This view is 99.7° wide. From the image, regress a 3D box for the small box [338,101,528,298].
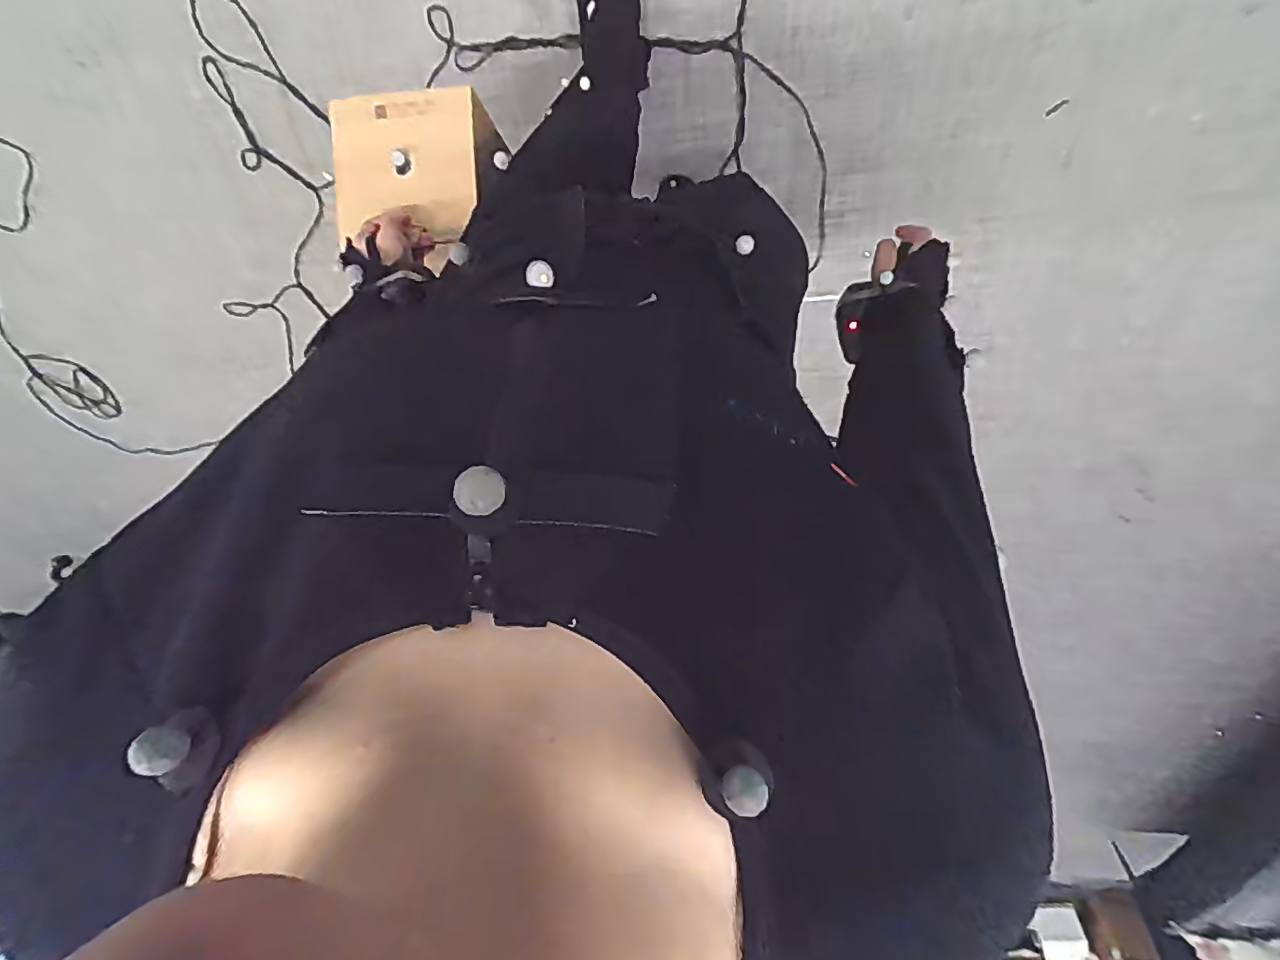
[{"bbox_3d":[-0.253,-0.347,0.686,0.168,0.179,0.176,-4,93,6],"label":"small box"}]
